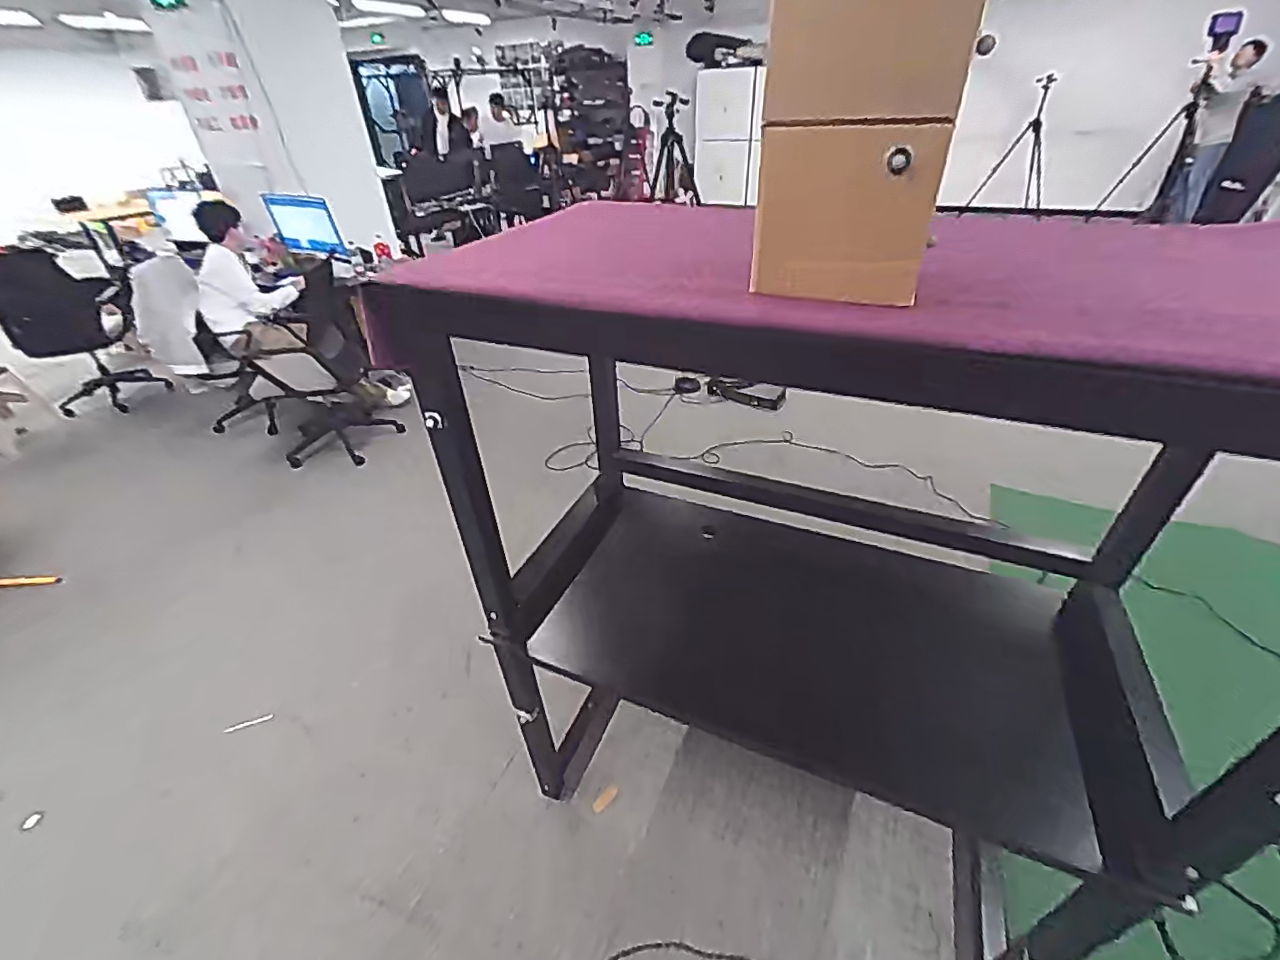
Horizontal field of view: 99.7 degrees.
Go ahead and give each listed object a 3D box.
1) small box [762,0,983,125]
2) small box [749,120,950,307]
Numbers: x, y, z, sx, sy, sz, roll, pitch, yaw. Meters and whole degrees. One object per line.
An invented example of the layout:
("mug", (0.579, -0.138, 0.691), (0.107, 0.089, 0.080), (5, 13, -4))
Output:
("small box", (0.224, -0.438, 0.514), (0.179, 0.176, 0.168), (14, 38, 21))
("small box", (0.228, -0.303, 0.608), (0.179, 0.176, 0.168), (13, 38, 20))
